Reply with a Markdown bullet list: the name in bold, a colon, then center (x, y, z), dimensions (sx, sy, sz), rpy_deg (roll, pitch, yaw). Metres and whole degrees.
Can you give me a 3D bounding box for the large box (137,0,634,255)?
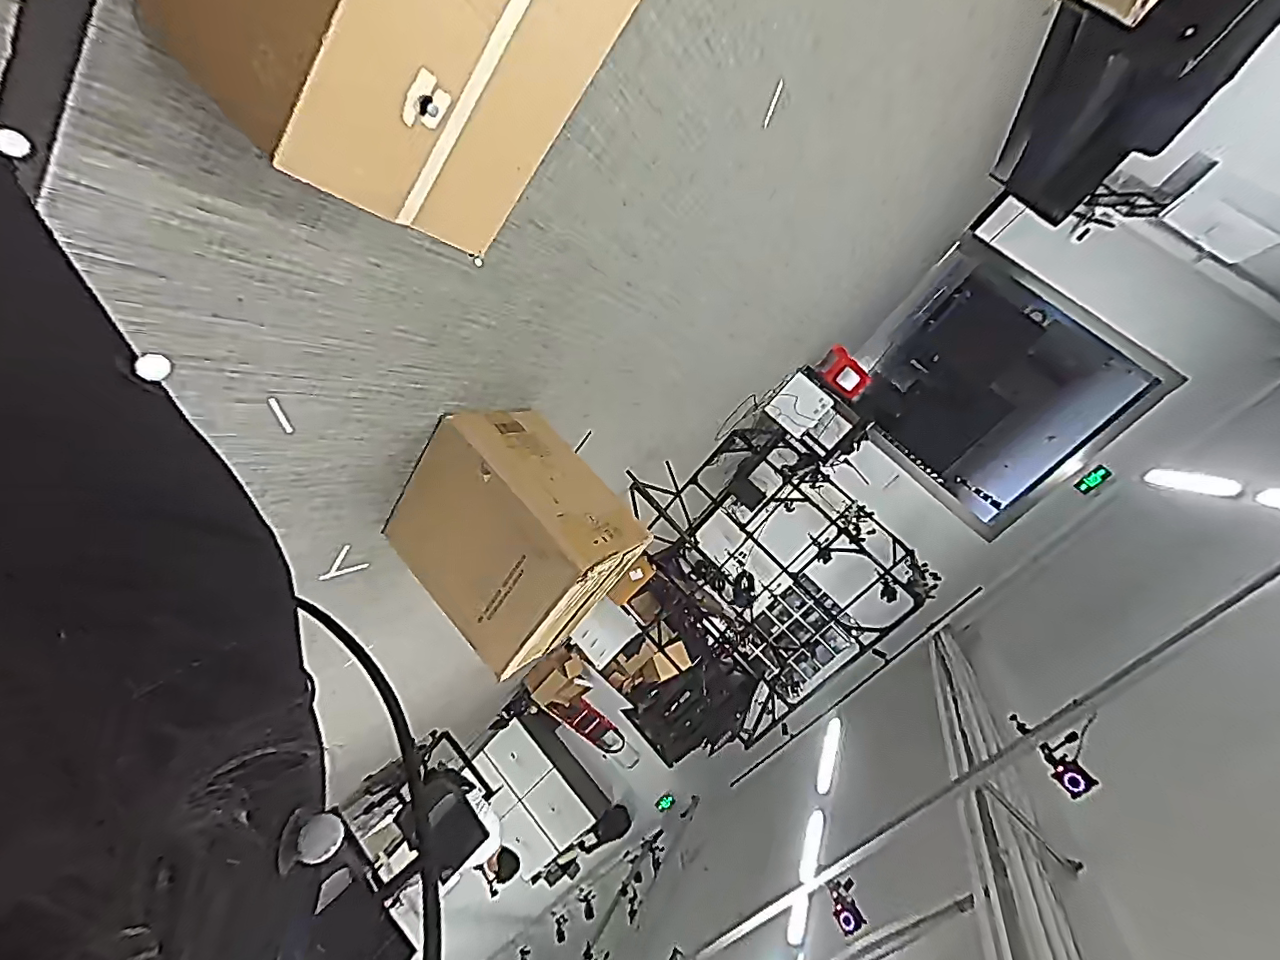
- **large box**: center (-0.283, -0.567, 0.638), dimensions (0.408, 0.320, 0.320), rpy_deg (-48, 165, 19)
